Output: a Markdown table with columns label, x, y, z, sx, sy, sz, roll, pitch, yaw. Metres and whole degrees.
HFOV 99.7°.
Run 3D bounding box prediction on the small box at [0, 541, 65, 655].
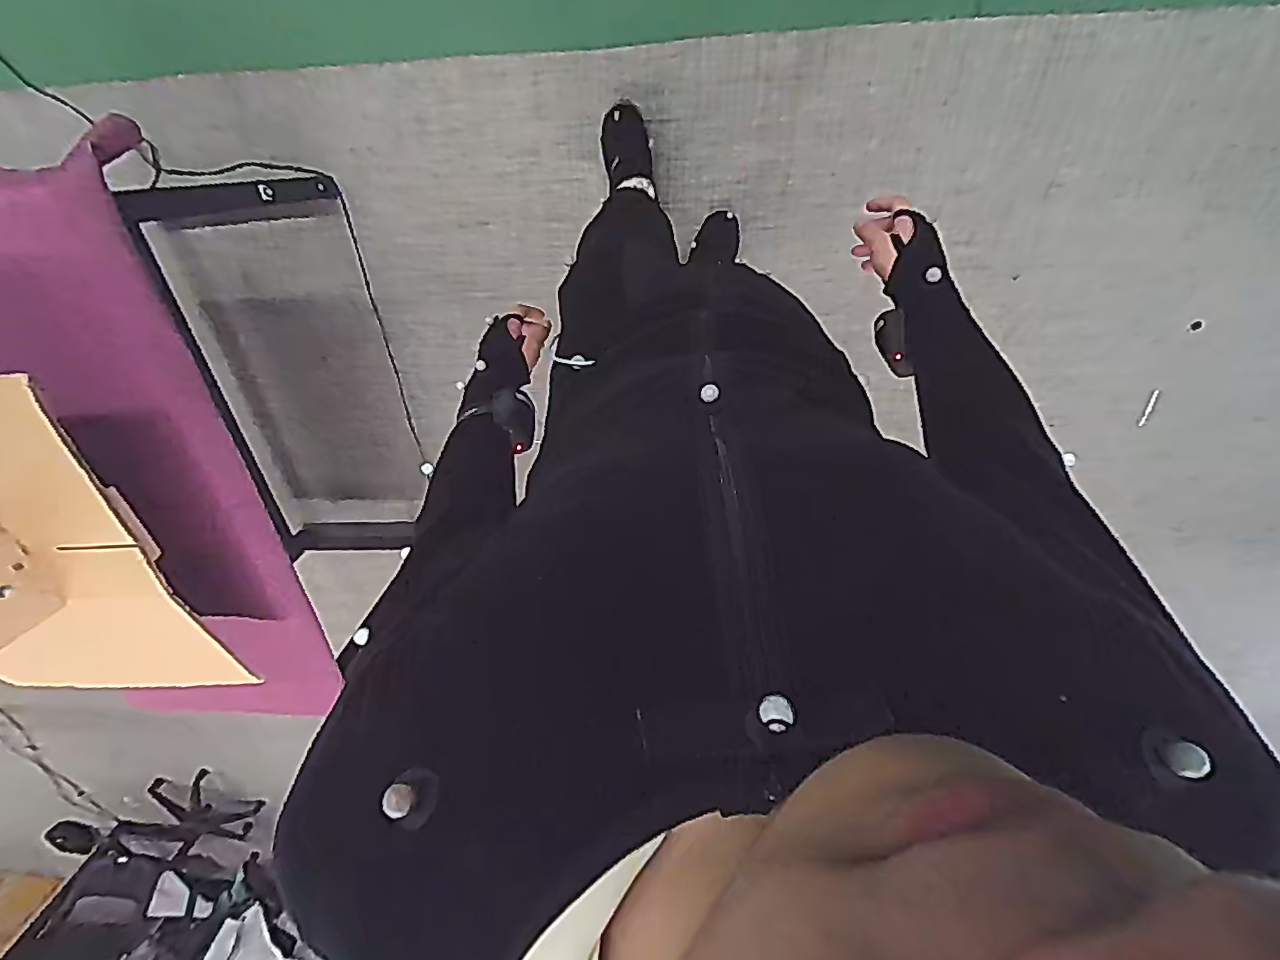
| label | x | y | z | sx | sy | sz | roll | pitch | yaw |
| --- | --- | --- | --- | --- | --- | --- | --- | --- | --- |
| small box | -1.126 | 0.210 | 0.877 | 0.179 | 0.176 | 0.168 | -2 | 118 | 7 |
